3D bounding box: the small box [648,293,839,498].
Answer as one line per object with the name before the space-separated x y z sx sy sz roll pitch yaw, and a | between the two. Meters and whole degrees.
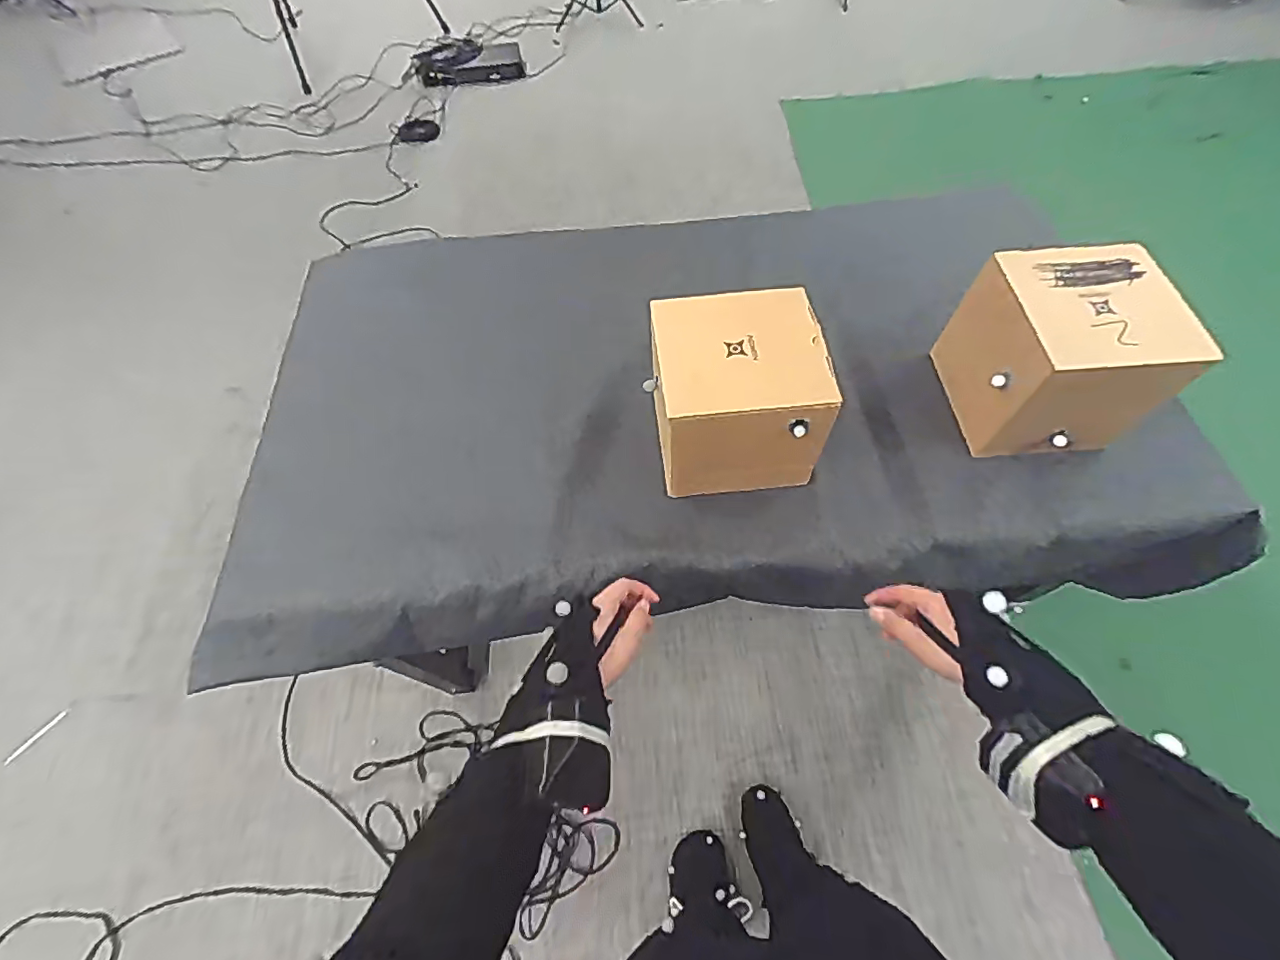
small box | 0.105 -0.090 0.630 0.179 0.176 0.168 -5 59 -1
